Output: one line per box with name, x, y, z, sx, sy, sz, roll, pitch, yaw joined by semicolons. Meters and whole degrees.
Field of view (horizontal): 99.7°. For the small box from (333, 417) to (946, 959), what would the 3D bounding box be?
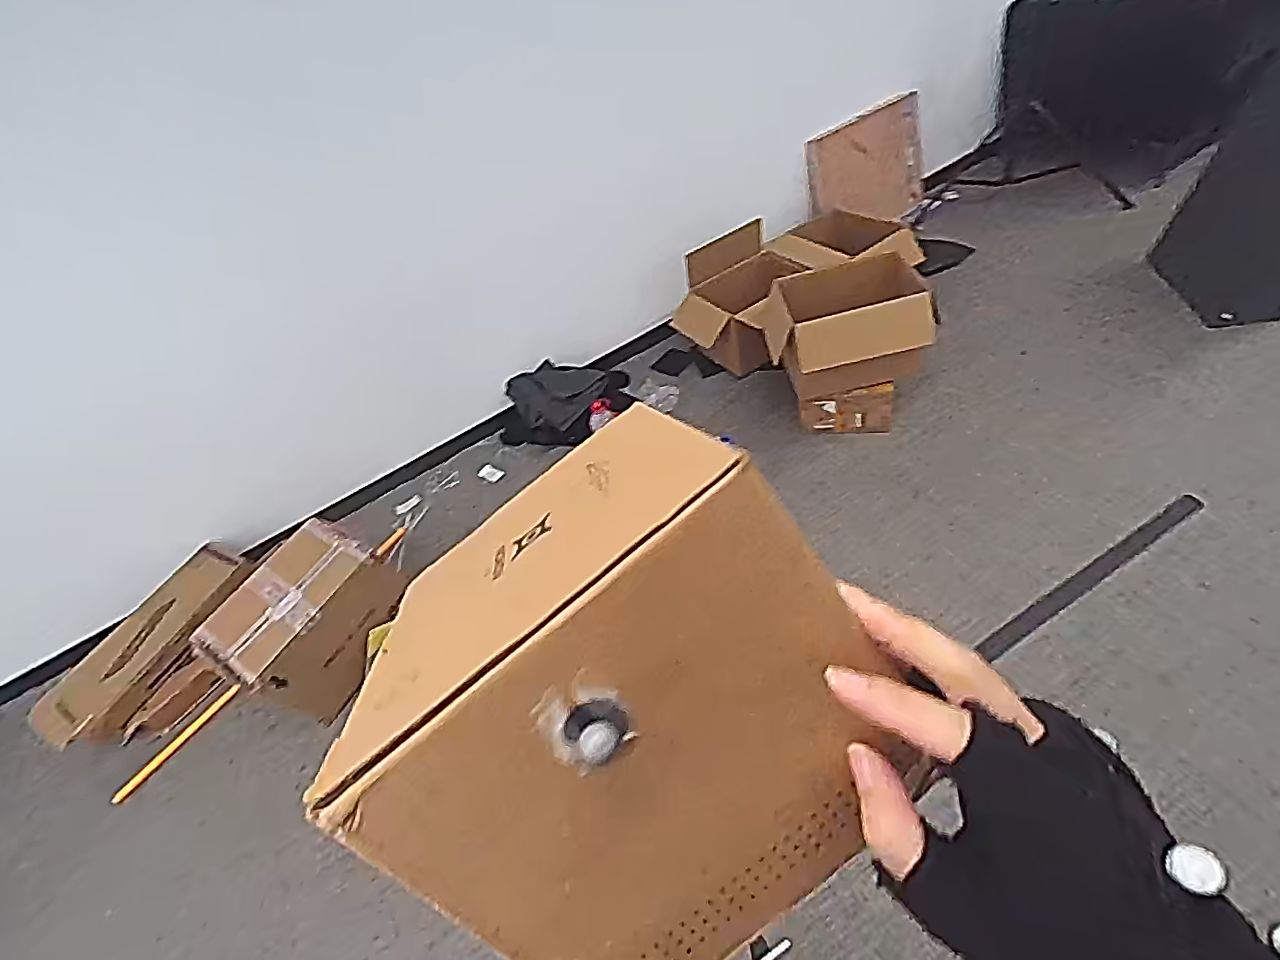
small box;0.003;0.094;0.267;0.179;0.176;0.168;-38;18;-1
